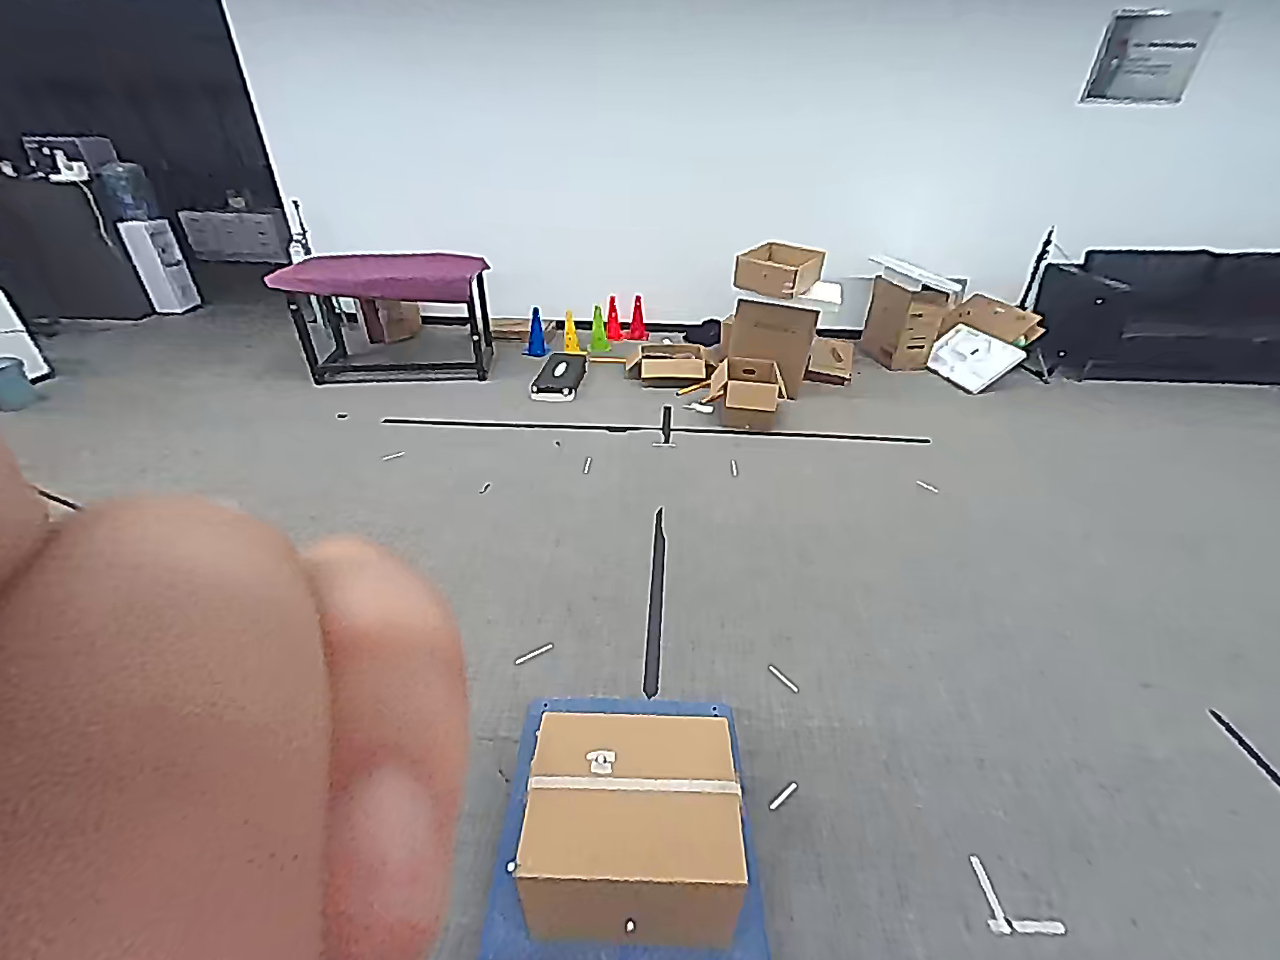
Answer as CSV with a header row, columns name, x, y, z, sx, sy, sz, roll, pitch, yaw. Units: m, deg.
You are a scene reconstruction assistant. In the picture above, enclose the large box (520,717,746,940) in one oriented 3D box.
name,x,y,z,sx,sy,sz,roll,pitch,yaw
large box,-0.010,0.733,1.147,0.408,0.320,0.320,0,32,1
